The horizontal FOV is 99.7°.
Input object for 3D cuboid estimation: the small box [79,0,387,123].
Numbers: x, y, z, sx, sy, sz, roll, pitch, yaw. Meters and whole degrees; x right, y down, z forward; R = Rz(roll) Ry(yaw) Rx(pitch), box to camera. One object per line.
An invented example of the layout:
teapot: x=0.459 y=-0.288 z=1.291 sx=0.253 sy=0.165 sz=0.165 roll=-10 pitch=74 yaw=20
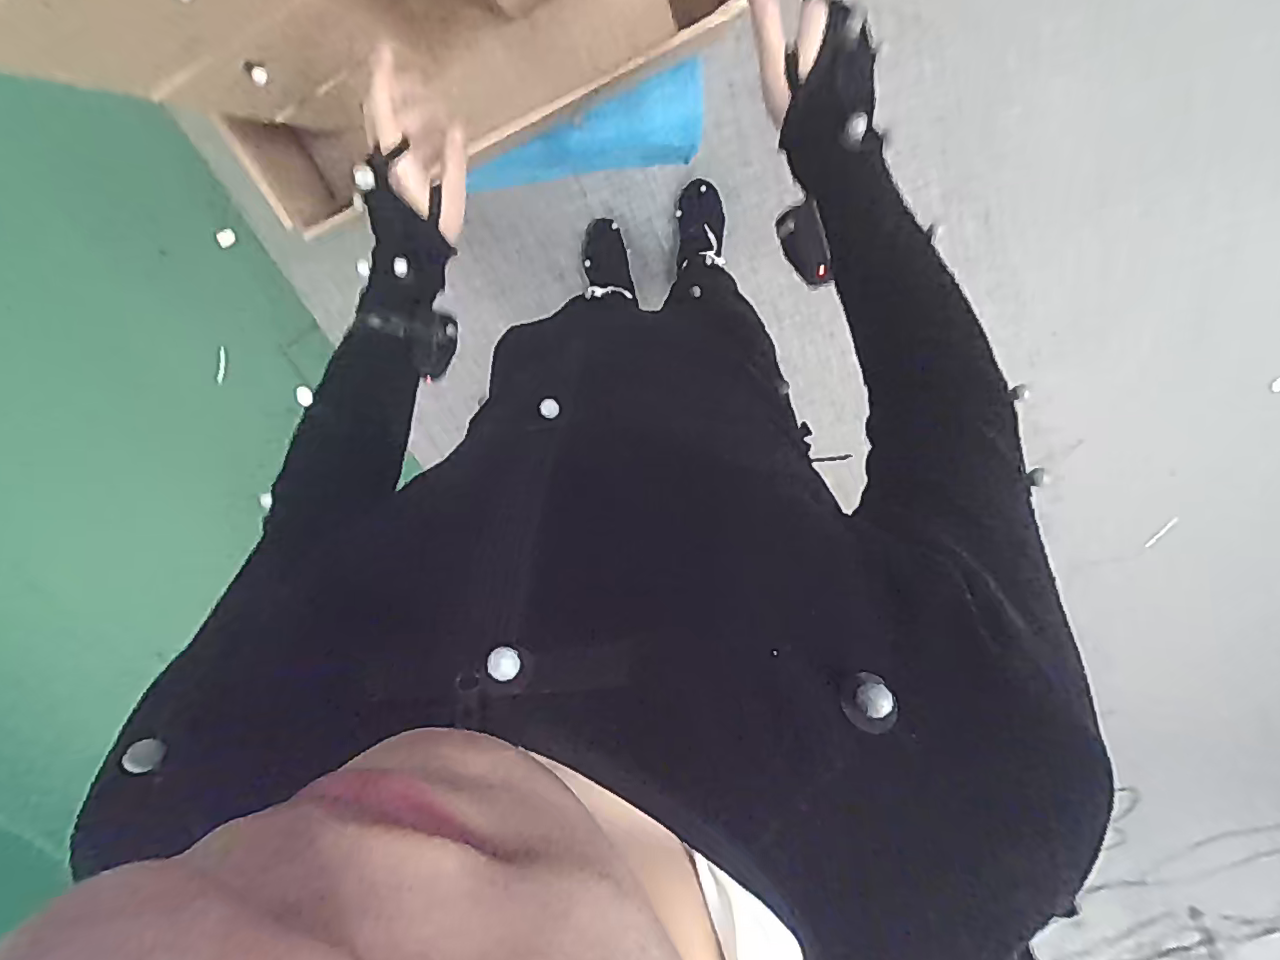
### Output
small box: x=-0.369 y=-0.451 z=0.482 sx=0.179 sy=0.176 sz=0.168 roll=-23 pitch=116 yaw=11
